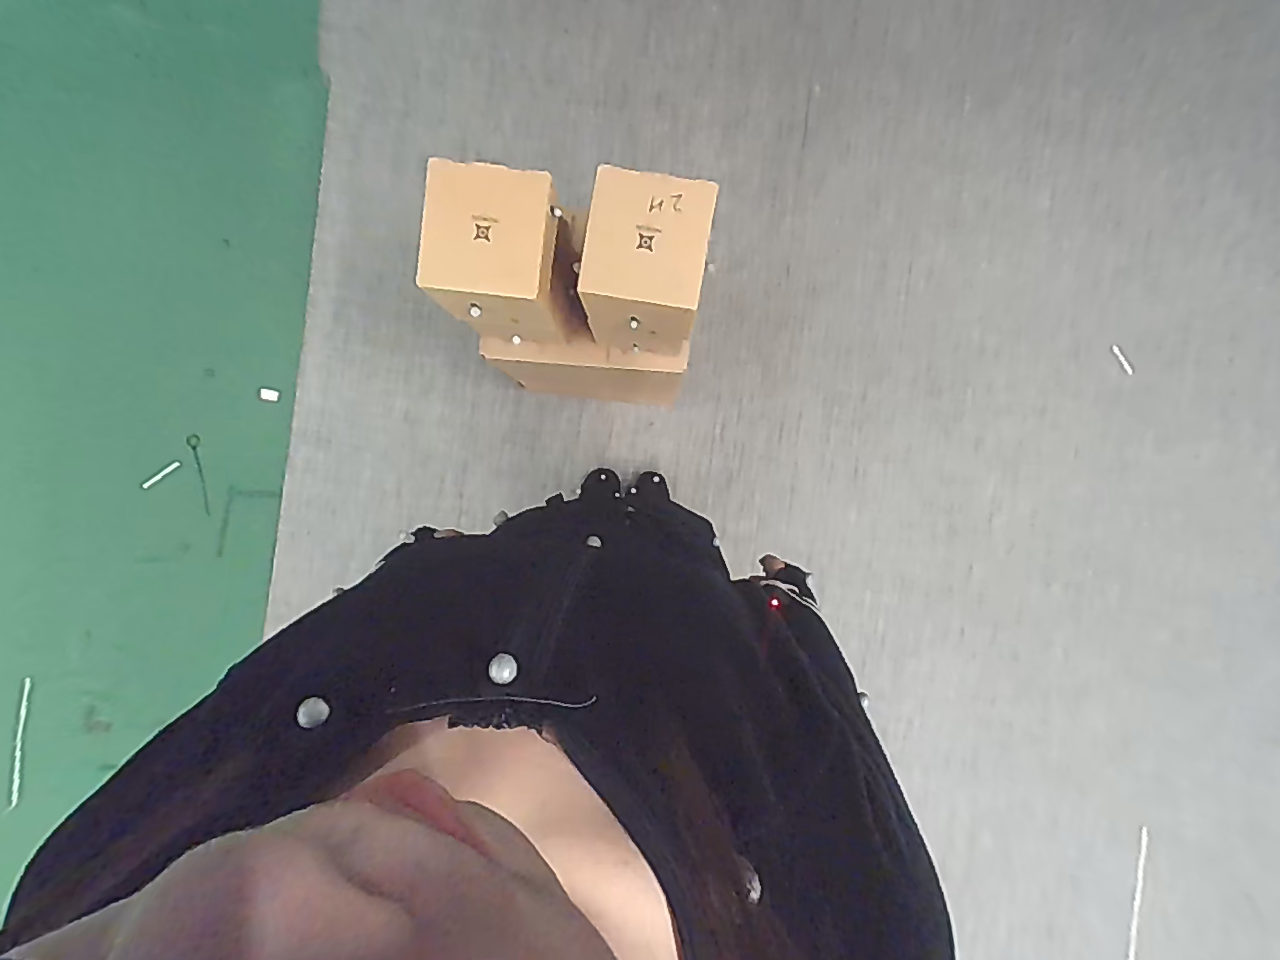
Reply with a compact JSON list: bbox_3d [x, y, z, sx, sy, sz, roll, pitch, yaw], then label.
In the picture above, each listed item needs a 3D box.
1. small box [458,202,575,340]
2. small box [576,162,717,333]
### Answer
[{"bbox_3d":[-0.213,-0.367,0.978,0.168,0.176,0.179,7,93,-1],"label":"small box"},{"bbox_3d":[0.011,-0.333,0.811,0.168,0.176,0.179,11,92,0],"label":"small box"}]
